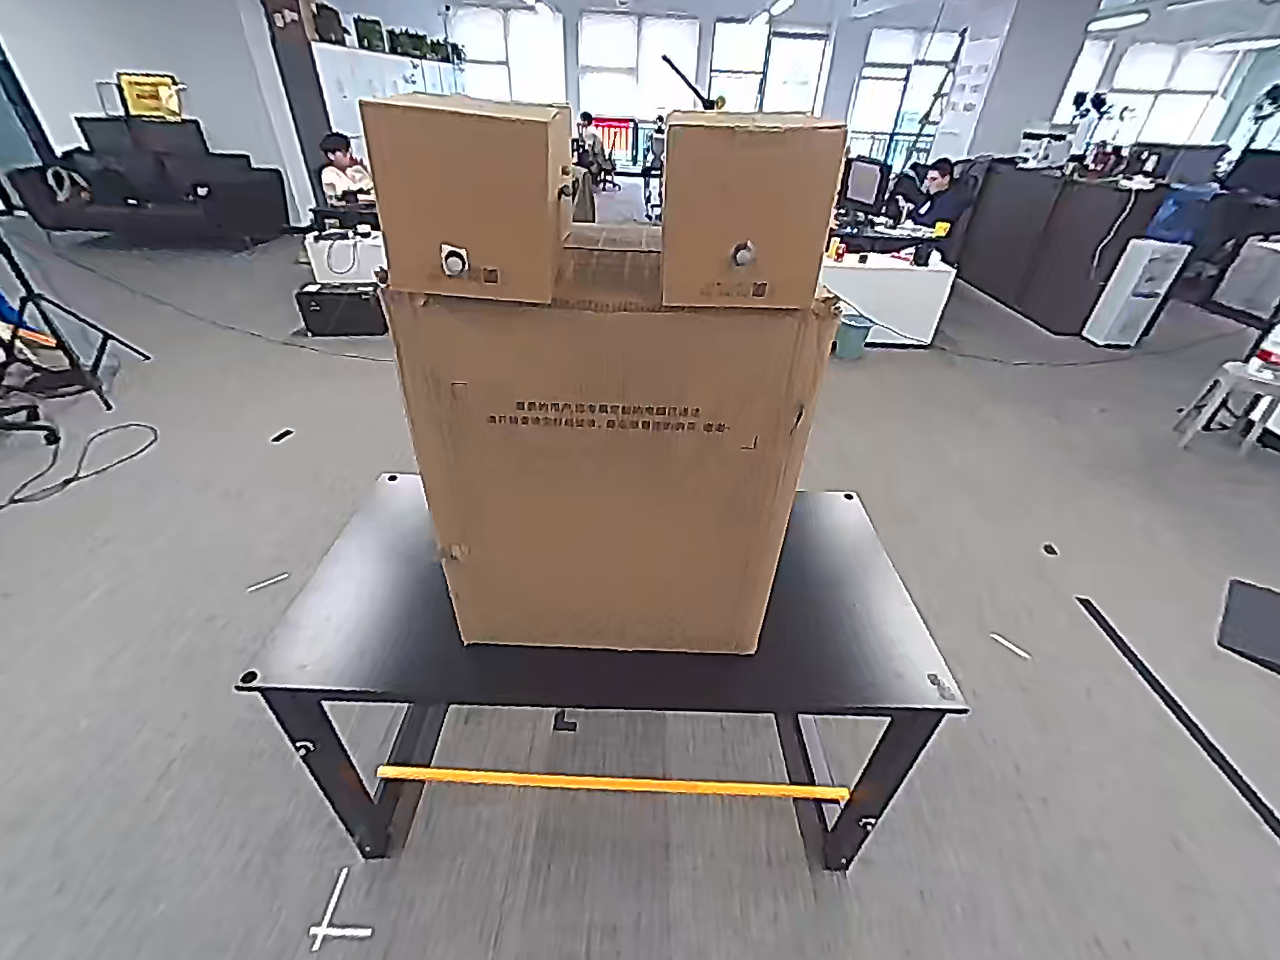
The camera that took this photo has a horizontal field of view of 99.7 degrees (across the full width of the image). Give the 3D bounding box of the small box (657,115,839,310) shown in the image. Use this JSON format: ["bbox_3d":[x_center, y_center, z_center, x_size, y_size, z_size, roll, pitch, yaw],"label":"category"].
[{"bbox_3d":[0.104,-0.305,0.611,0.168,0.176,0.179,1,37,1],"label":"small box"}]
